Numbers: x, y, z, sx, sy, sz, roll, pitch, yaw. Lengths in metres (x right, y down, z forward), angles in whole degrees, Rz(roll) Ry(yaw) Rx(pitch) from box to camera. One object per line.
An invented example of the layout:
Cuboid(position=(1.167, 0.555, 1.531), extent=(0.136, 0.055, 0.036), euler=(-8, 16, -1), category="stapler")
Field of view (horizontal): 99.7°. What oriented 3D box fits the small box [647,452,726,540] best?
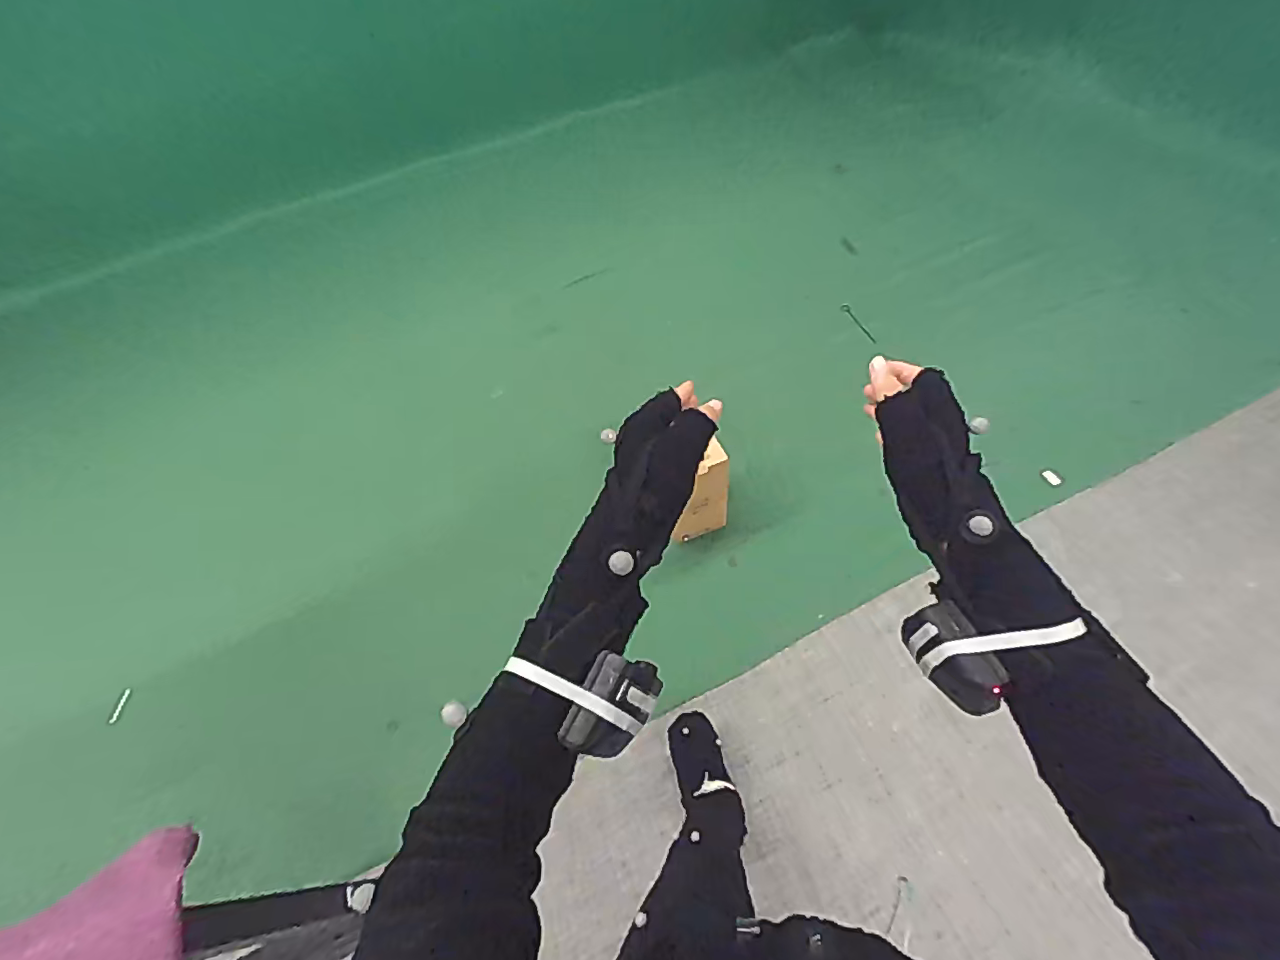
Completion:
Cuboid(position=(0.135, 0.055, 1.566), extent=(0.168, 0.176, 0.179), euler=(-23, 59, -9), category="small box")
